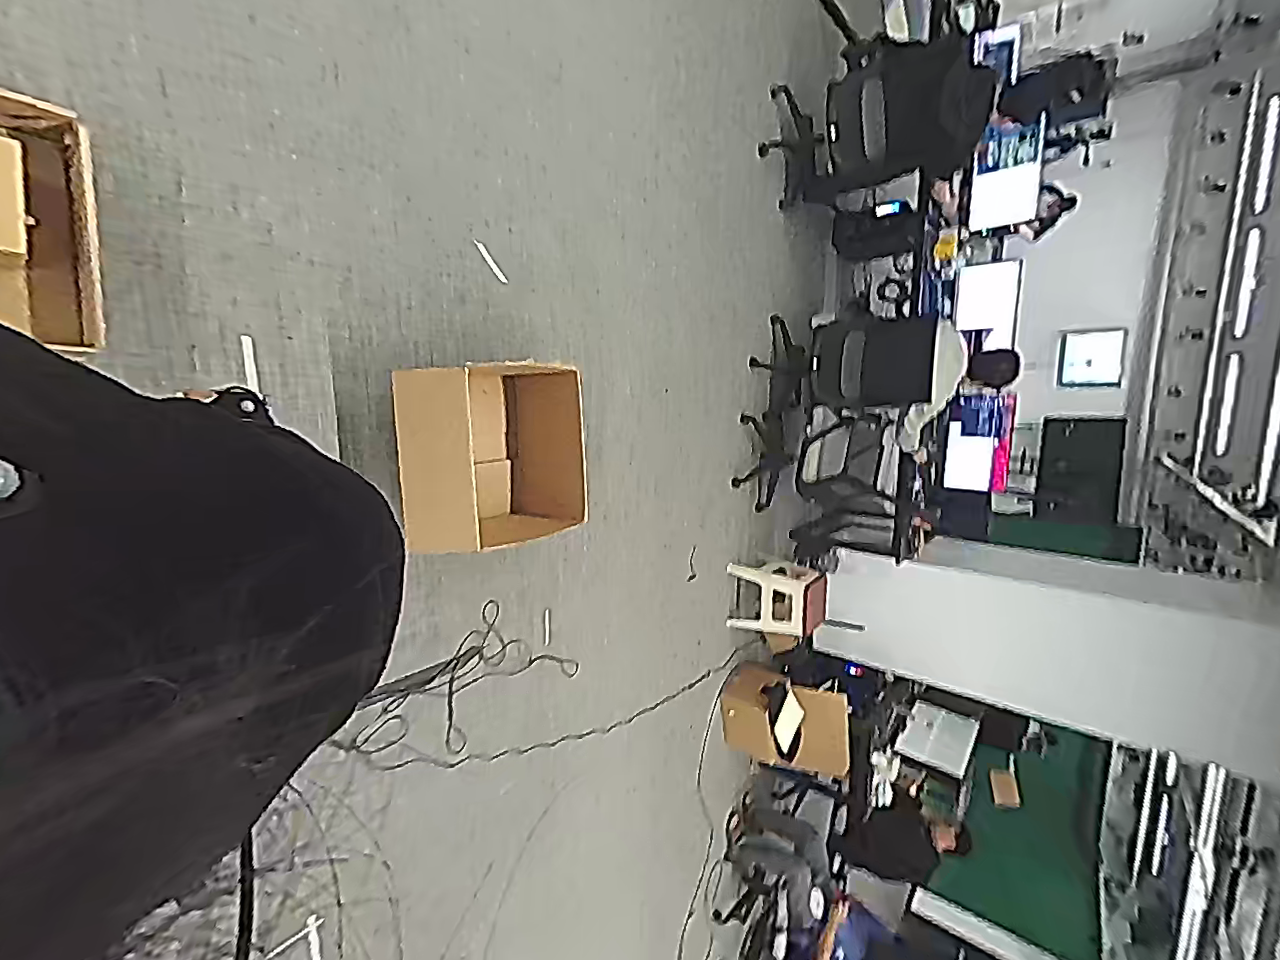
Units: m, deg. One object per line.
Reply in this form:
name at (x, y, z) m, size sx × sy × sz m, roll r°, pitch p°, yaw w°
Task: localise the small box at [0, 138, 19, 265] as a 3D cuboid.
small box at (-1.088, -0.447, 0.836) m, size 0.168 × 0.176 × 0.179 m, roll -3°, pitch 100°, yaw -50°
